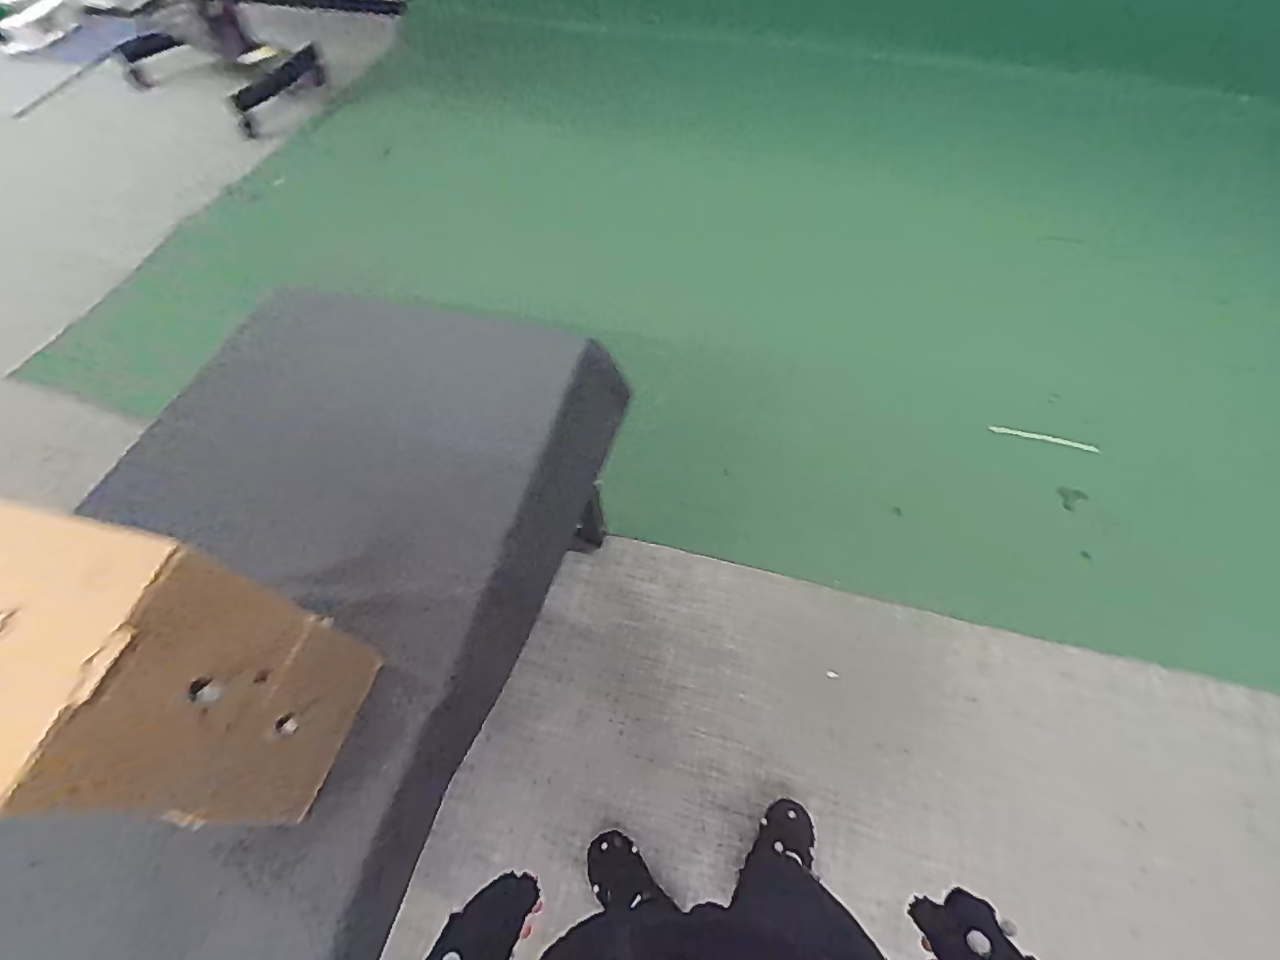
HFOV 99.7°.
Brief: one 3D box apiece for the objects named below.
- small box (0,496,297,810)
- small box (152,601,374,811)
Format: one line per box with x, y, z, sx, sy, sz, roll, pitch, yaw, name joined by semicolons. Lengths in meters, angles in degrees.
-0.415;0.133;0.414;0.179;0.176;0.168;12;61;6;small box
-0.411;0.217;0.554;0.168;0.176;0.179;13;59;7;small box
